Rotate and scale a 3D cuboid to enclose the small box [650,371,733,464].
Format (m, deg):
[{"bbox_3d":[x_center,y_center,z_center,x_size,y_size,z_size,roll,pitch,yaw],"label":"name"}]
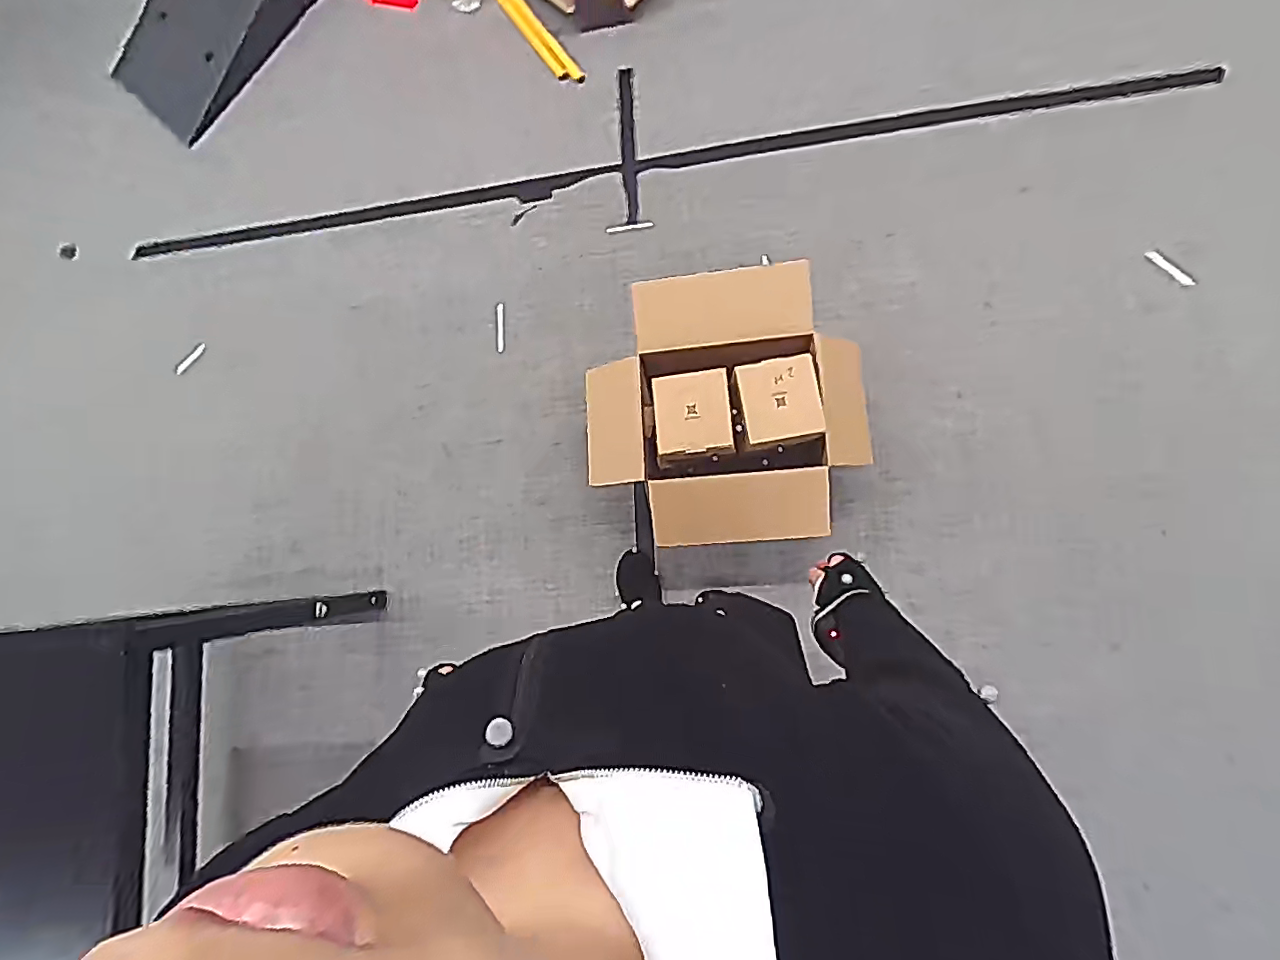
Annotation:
[{"bbox_3d":[0.124,-0.135,1.258,0.168,0.176,0.179,-7,81,10],"label":"small box"}]

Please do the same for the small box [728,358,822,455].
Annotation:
[{"bbox_3d":[0.301,-0.157,1.234,0.168,0.176,0.179,-10,82,3],"label":"small box"}]
